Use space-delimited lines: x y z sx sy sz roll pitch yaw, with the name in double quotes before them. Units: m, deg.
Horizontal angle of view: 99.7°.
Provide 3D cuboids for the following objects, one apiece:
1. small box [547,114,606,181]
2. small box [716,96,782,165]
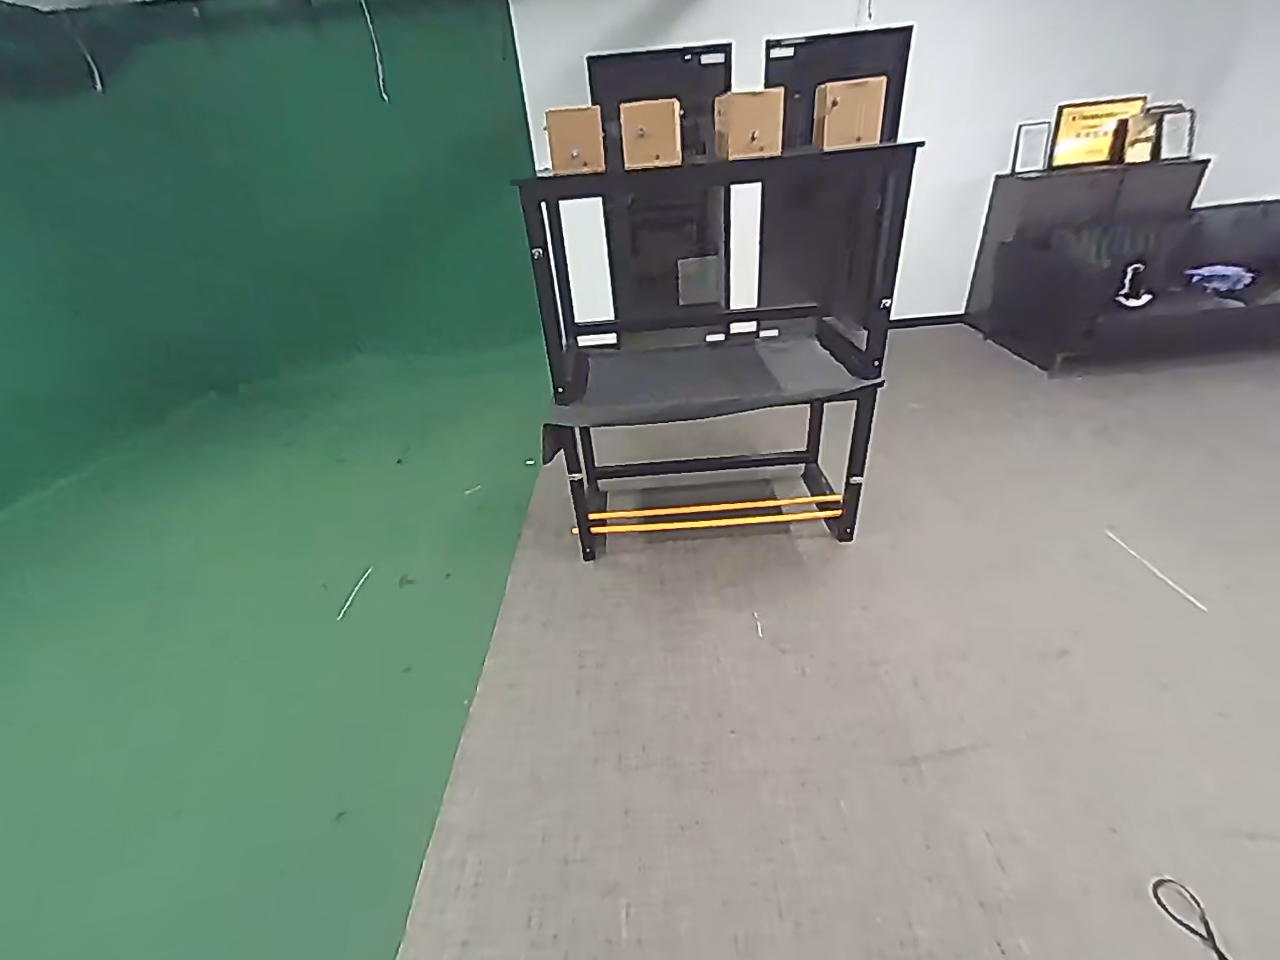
"small box" -0.201 -1.060 1.731 0.168 0.176 0.179 -8 32 -4
"small box" 0.335 -1.085 1.689 0.168 0.176 0.179 -7 31 -2
